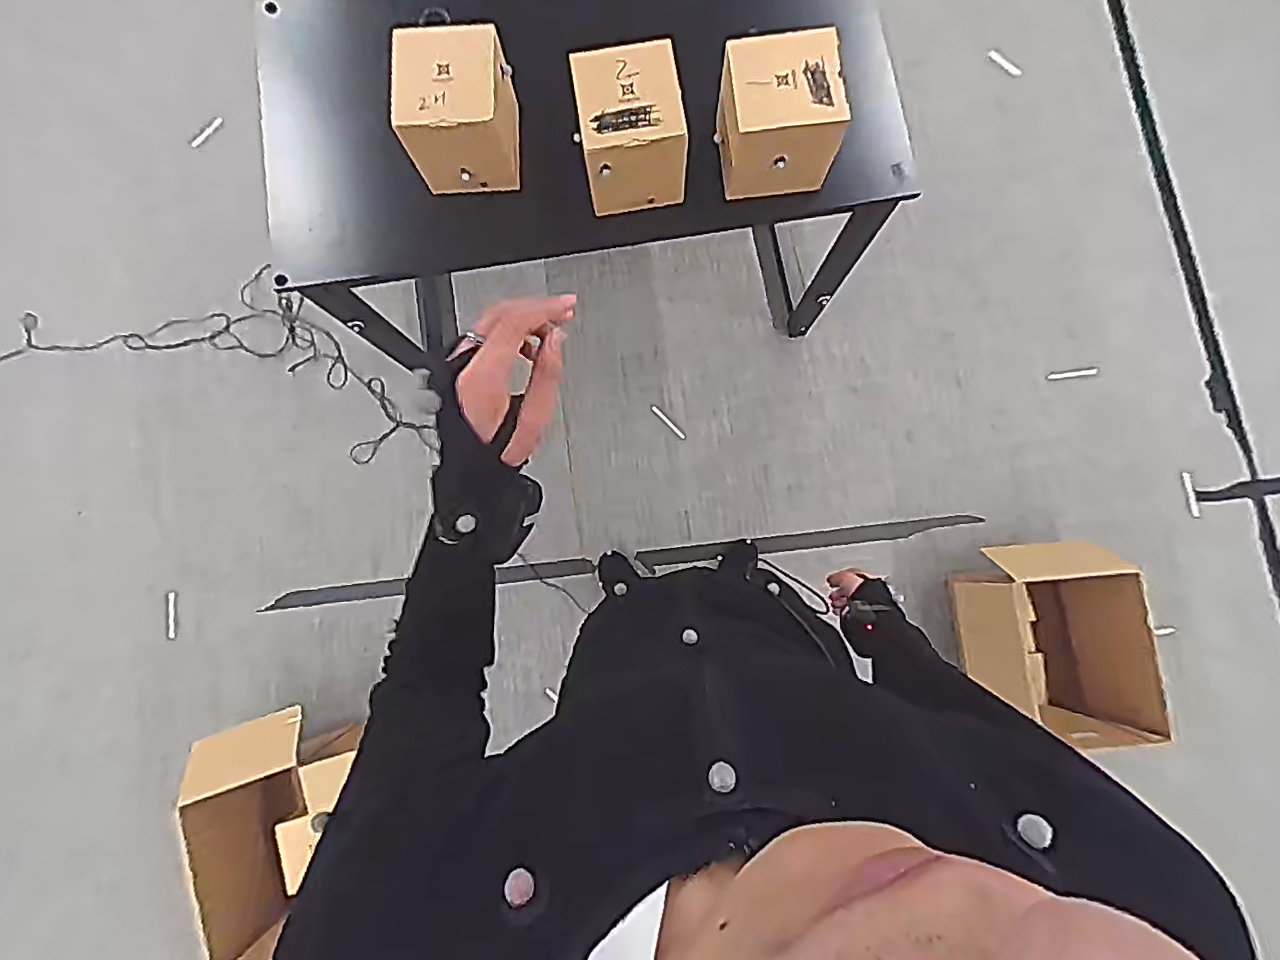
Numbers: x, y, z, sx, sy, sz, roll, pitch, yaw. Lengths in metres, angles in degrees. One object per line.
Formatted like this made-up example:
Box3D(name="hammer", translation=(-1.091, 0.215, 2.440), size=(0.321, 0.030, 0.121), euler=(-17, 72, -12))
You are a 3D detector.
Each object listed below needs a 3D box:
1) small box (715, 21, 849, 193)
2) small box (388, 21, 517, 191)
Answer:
Box3D(name="small box", translation=(0.229, -0.619, 0.917), size=(0.179, 0.176, 0.168), euler=(-6, 83, 2))
Box3D(name="small box", translation=(-0.314, -0.634, 0.932), size=(0.168, 0.176, 0.179), euler=(-3, 83, 1))
